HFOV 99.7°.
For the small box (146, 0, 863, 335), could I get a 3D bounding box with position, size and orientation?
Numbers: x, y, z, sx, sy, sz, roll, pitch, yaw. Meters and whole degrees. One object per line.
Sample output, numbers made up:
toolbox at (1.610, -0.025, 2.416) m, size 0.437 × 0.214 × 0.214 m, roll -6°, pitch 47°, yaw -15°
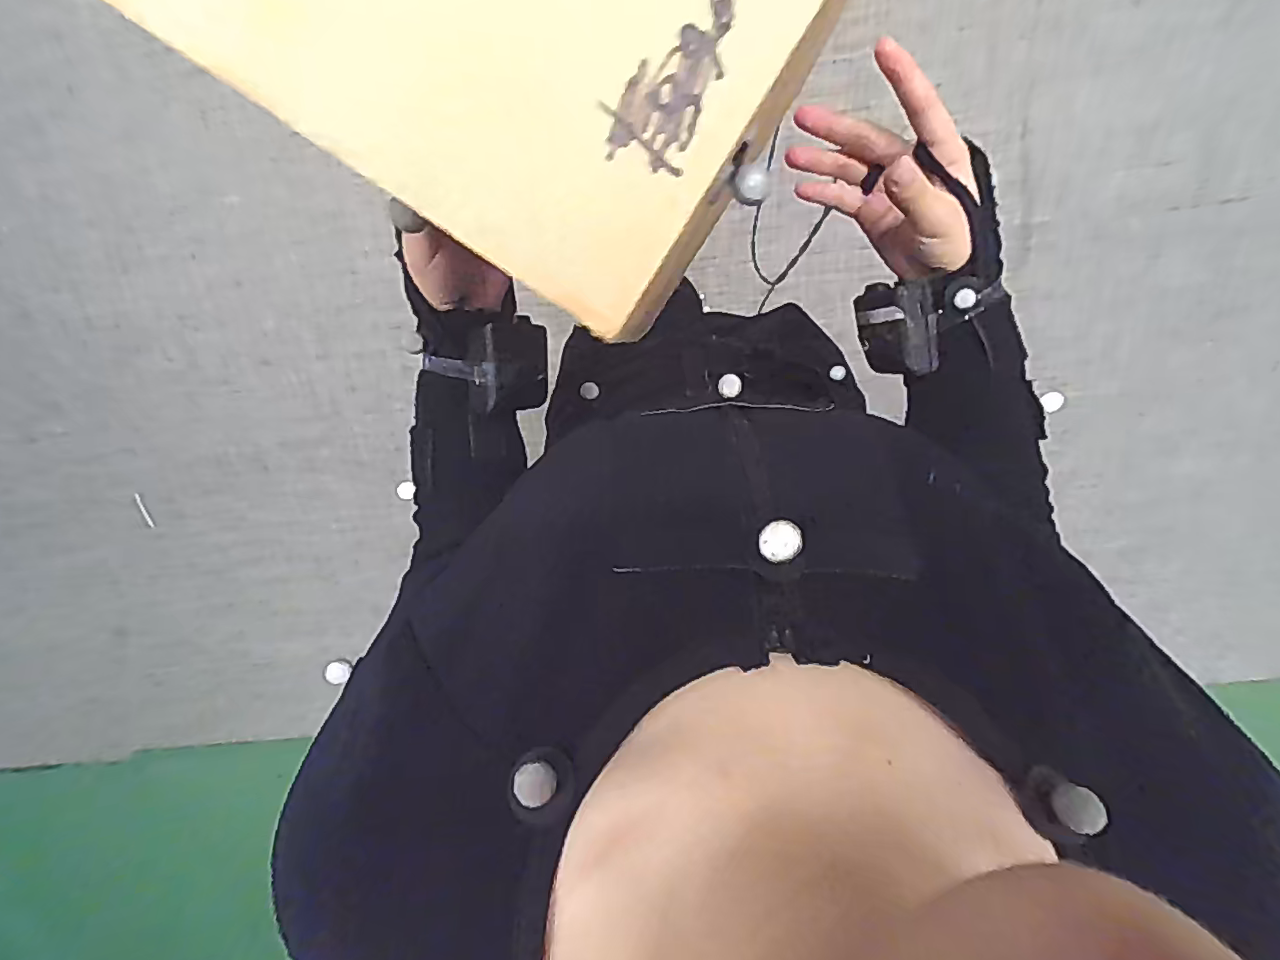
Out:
small box at (-0.028, -0.173, 0.228) m, size 0.179 × 0.176 × 0.168 m, roll 33°, pitch 104°, yaw -5°
